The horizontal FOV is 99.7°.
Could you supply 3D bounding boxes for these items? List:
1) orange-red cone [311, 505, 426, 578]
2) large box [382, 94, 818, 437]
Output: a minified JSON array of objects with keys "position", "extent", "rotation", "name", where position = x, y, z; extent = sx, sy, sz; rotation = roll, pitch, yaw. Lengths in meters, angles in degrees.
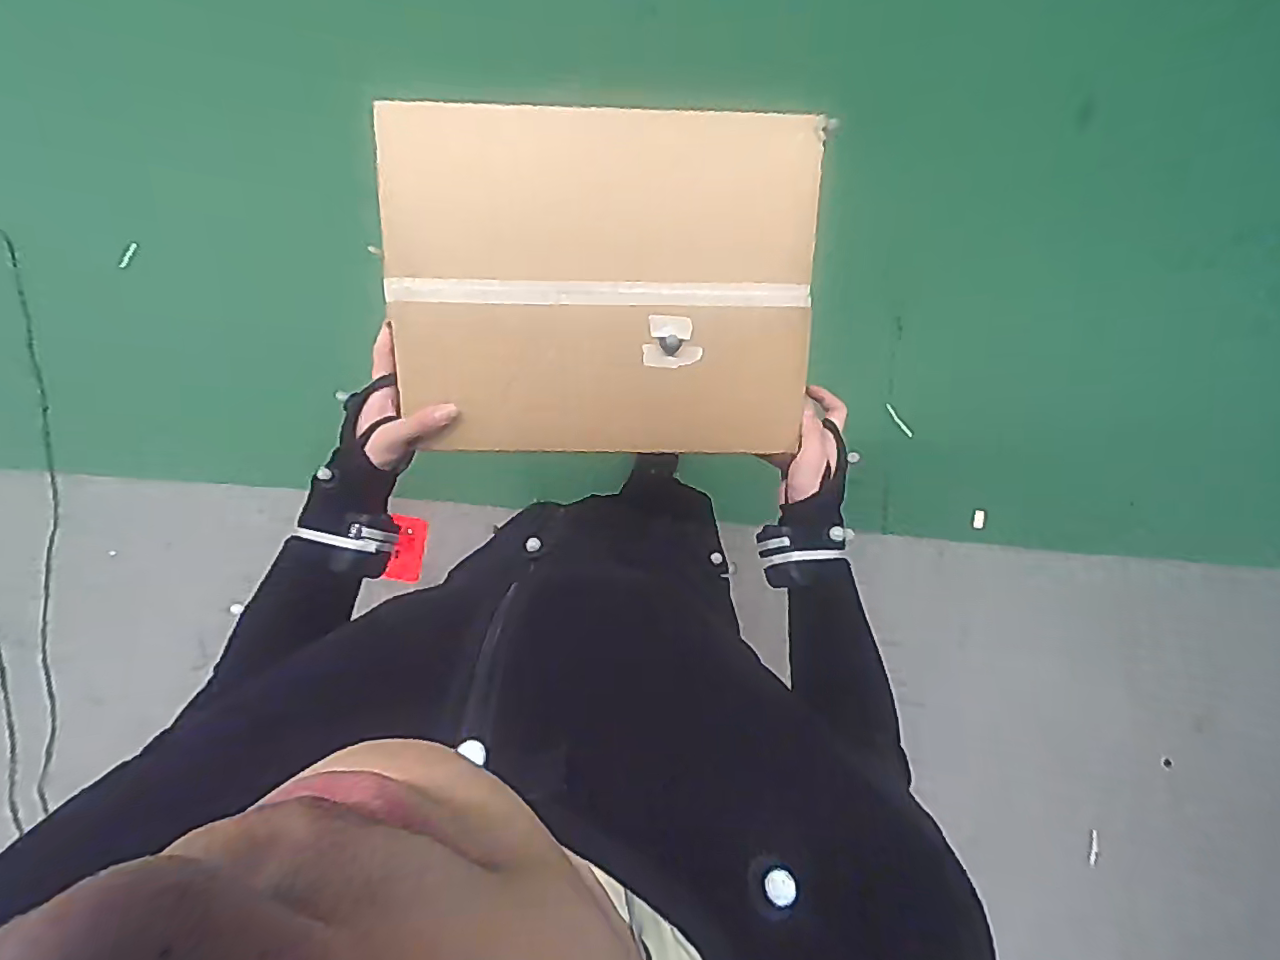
[{"position":[-0.769,0.189,1.473],"extent":[0.199,0.360,0.198],"rotation":[12,91,2],"name":"orange-red cone"},{"position":[-0.041,-0.231,0.669],"extent":[0.408,0.320,0.320],"rotation":[0,105,-3],"name":"large box"}]
